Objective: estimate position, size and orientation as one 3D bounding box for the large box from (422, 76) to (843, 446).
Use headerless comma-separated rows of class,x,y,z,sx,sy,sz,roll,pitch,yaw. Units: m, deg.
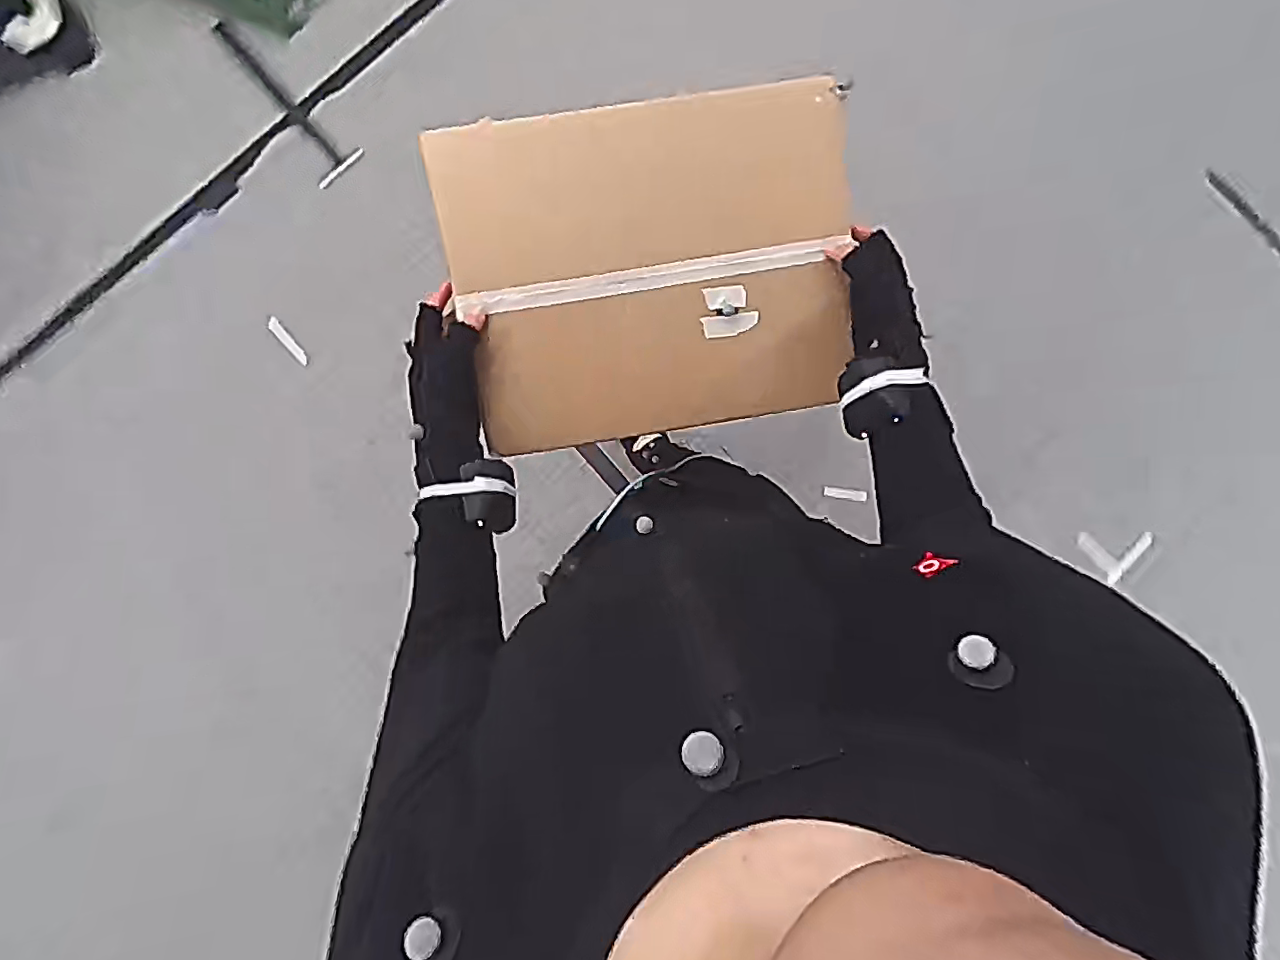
large box,-0.007,-0.250,0.706,0.408,0.320,0.320,-10,104,-3
